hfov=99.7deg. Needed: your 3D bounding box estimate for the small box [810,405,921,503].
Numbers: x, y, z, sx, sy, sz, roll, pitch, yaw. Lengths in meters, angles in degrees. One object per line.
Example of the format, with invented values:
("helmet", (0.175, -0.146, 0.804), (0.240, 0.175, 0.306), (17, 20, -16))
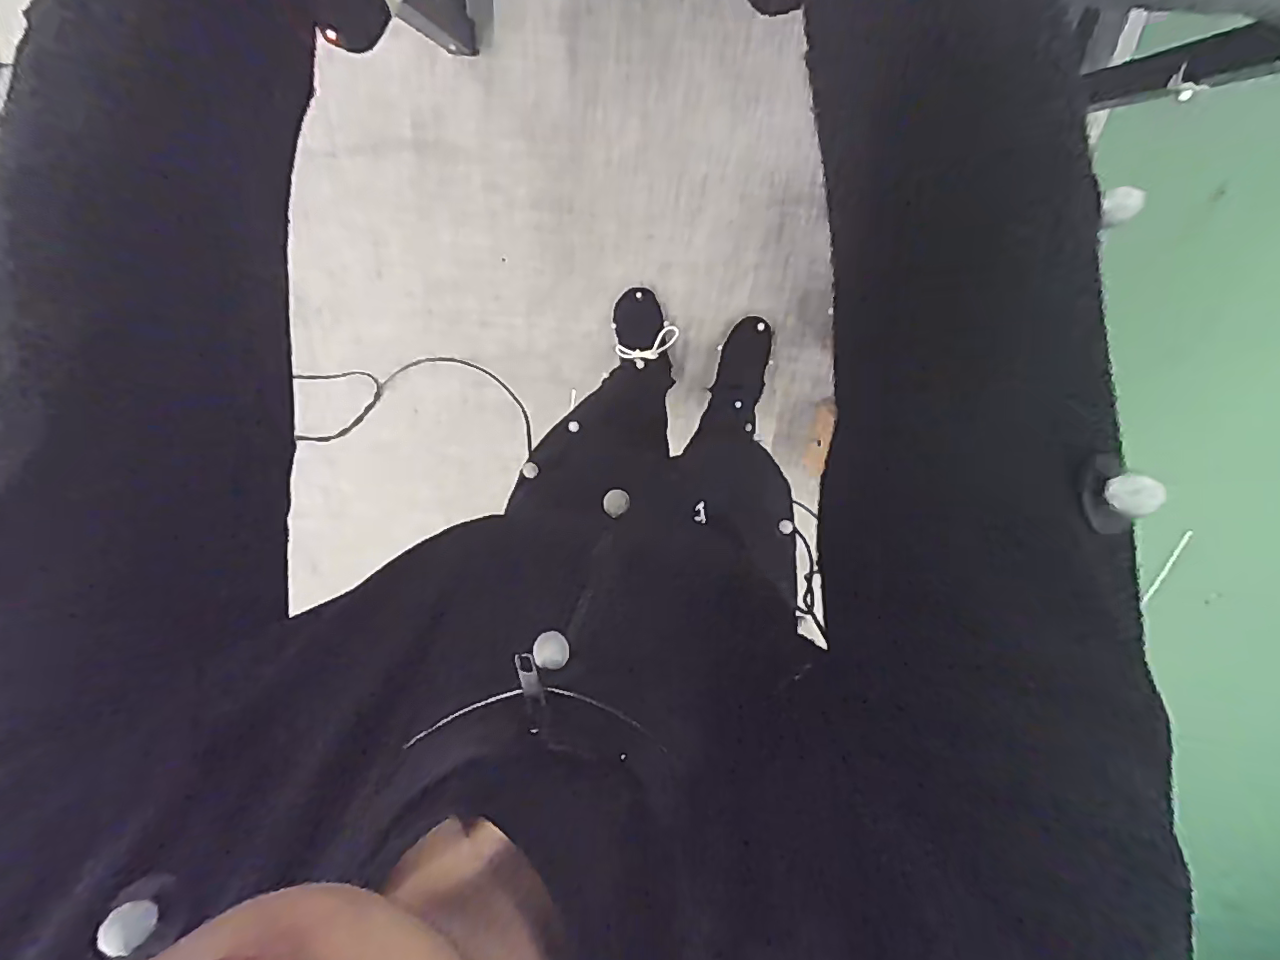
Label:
("small box", (0.514, -0.067, 1.266), (0.179, 0.176, 0.168), (7, 118, 1))
